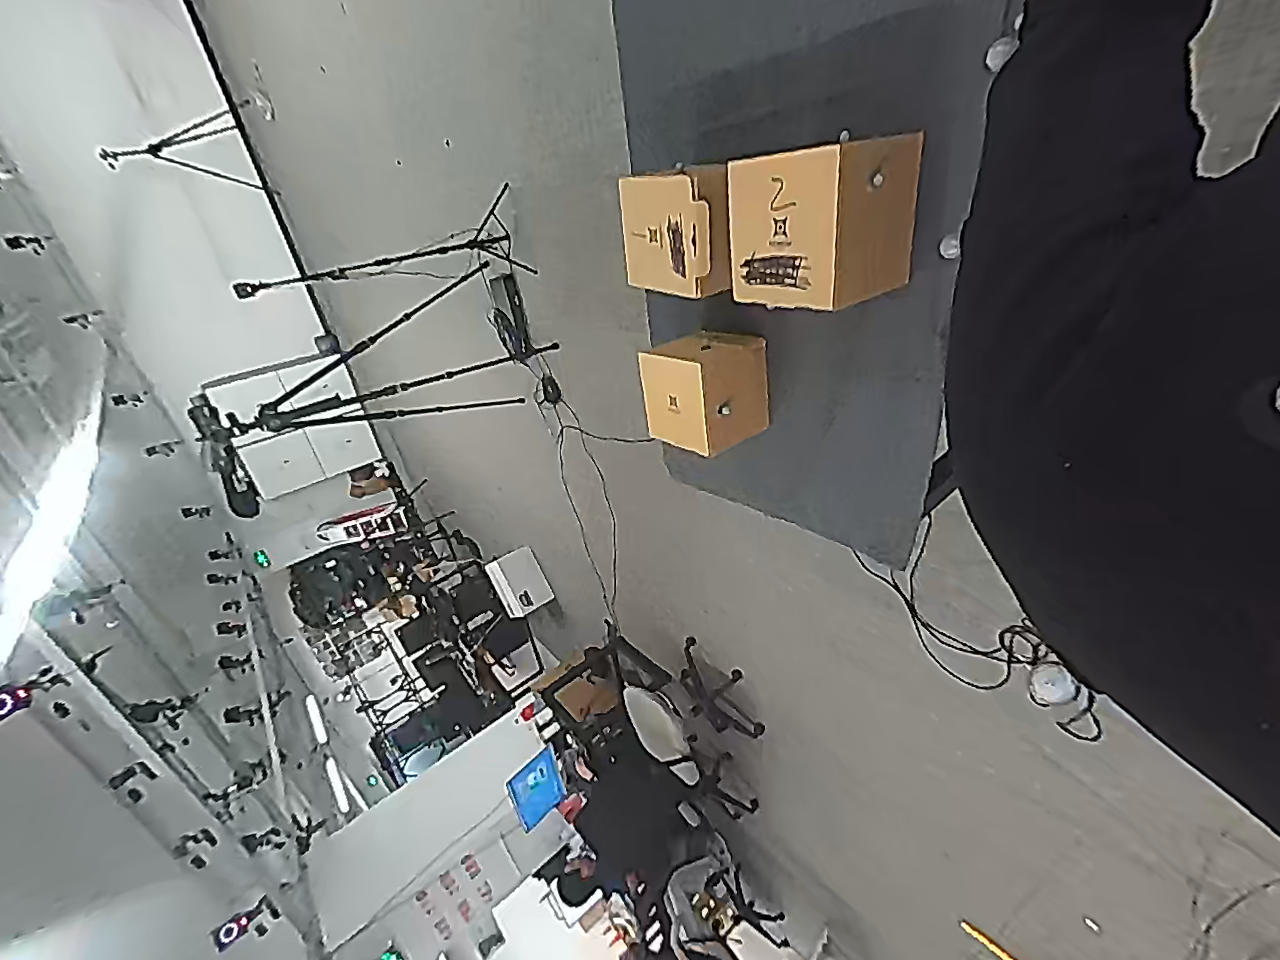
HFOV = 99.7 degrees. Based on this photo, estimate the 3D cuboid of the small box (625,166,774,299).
[{"bbox_3d":[0.099,-0.407,0.879,0.179,0.176,0.168,31,137,44],"label":"small box"}]
